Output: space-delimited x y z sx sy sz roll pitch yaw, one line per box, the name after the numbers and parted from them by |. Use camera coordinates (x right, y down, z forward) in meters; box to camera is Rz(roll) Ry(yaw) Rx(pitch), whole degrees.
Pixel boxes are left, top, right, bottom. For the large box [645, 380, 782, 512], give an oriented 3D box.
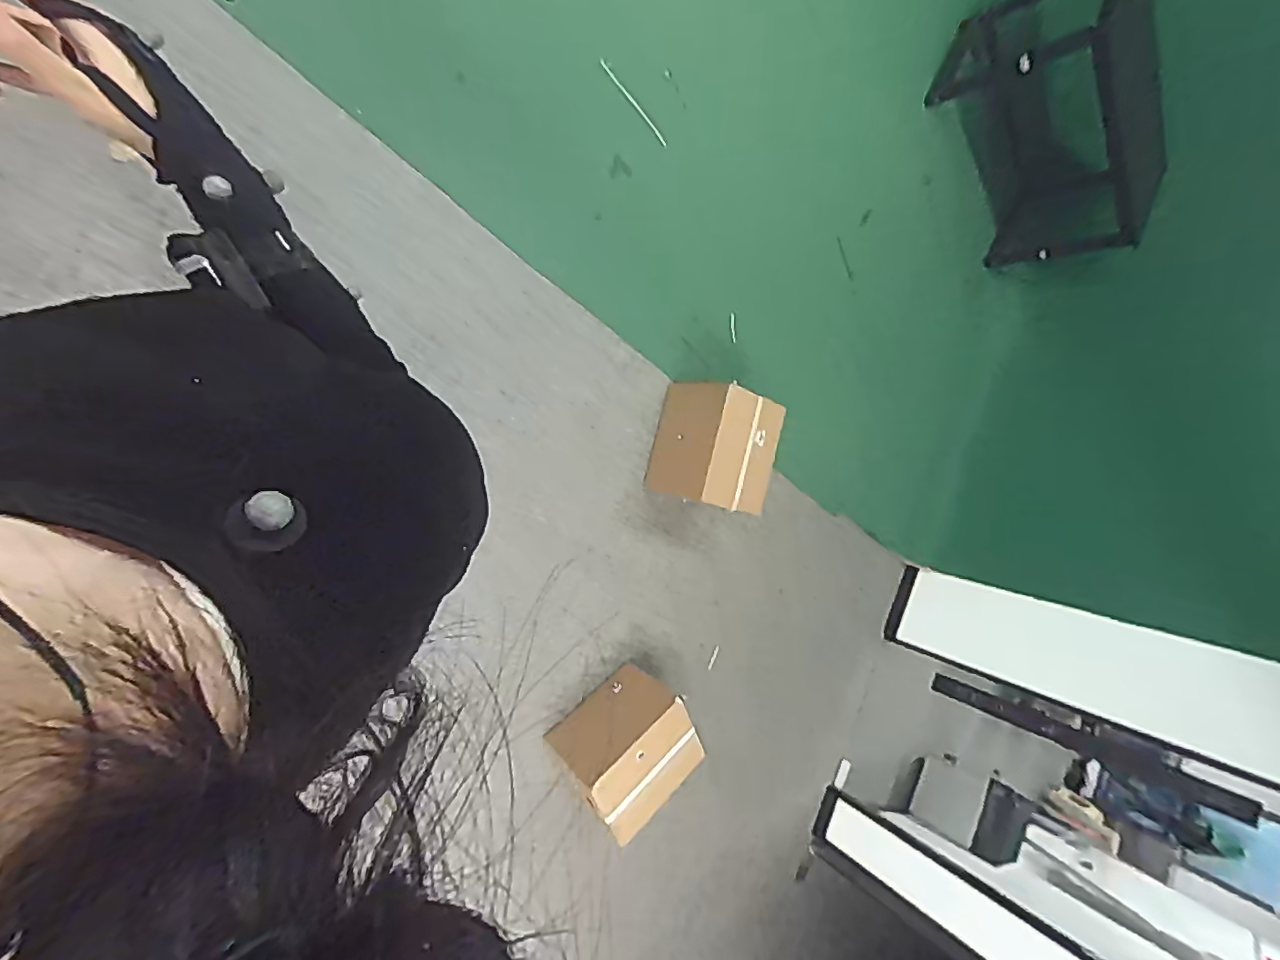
0.259 -0.123 1.951 0.320 0.320 0.408 15 89 -40 | large box
